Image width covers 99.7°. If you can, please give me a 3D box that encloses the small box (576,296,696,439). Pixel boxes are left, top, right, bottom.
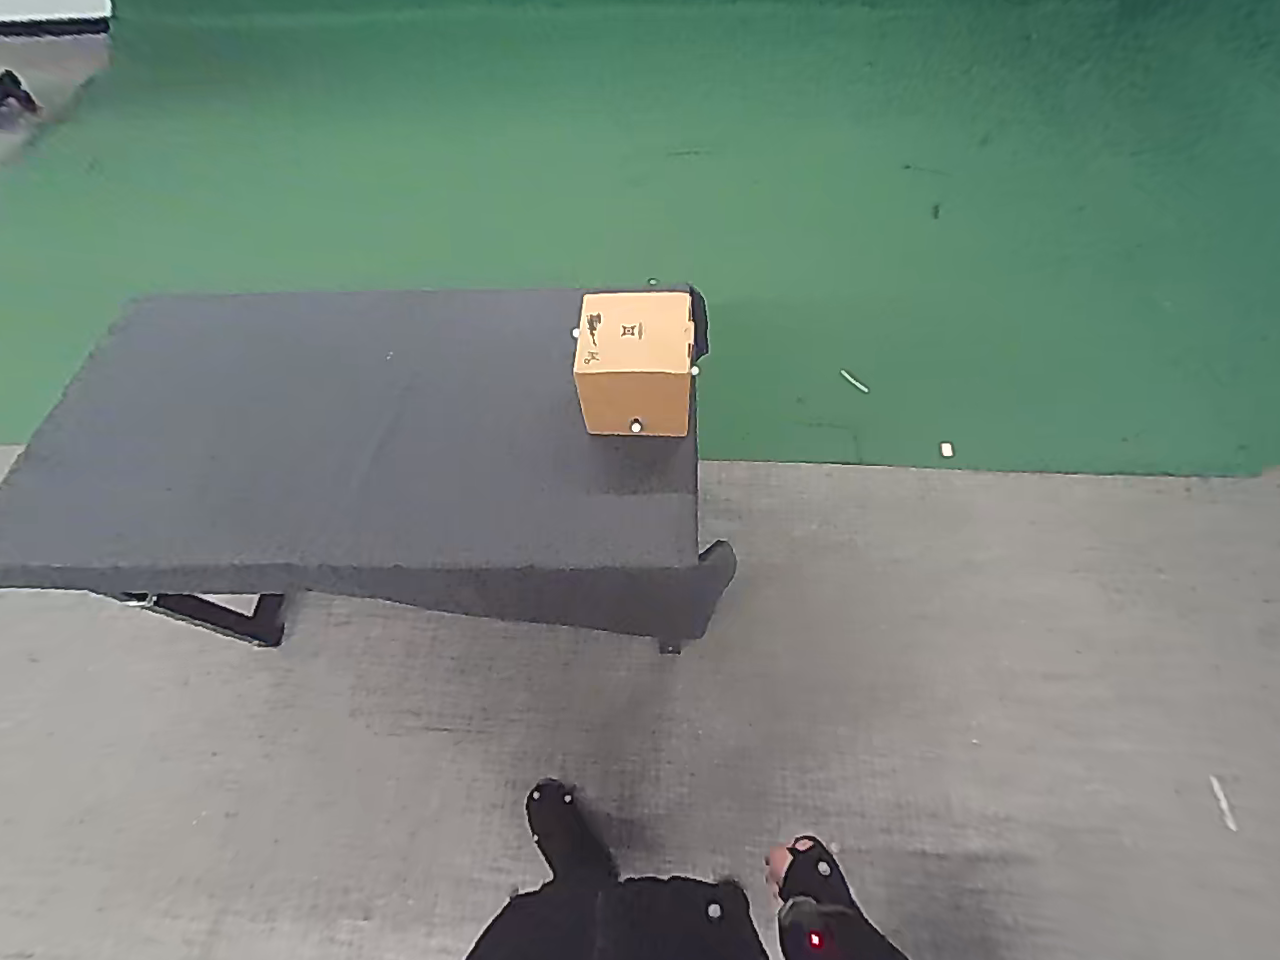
[{"bbox_3d":[-0.002,-0.181,0.902,0.179,0.176,0.168,3,60,2],"label":"small box"}]
